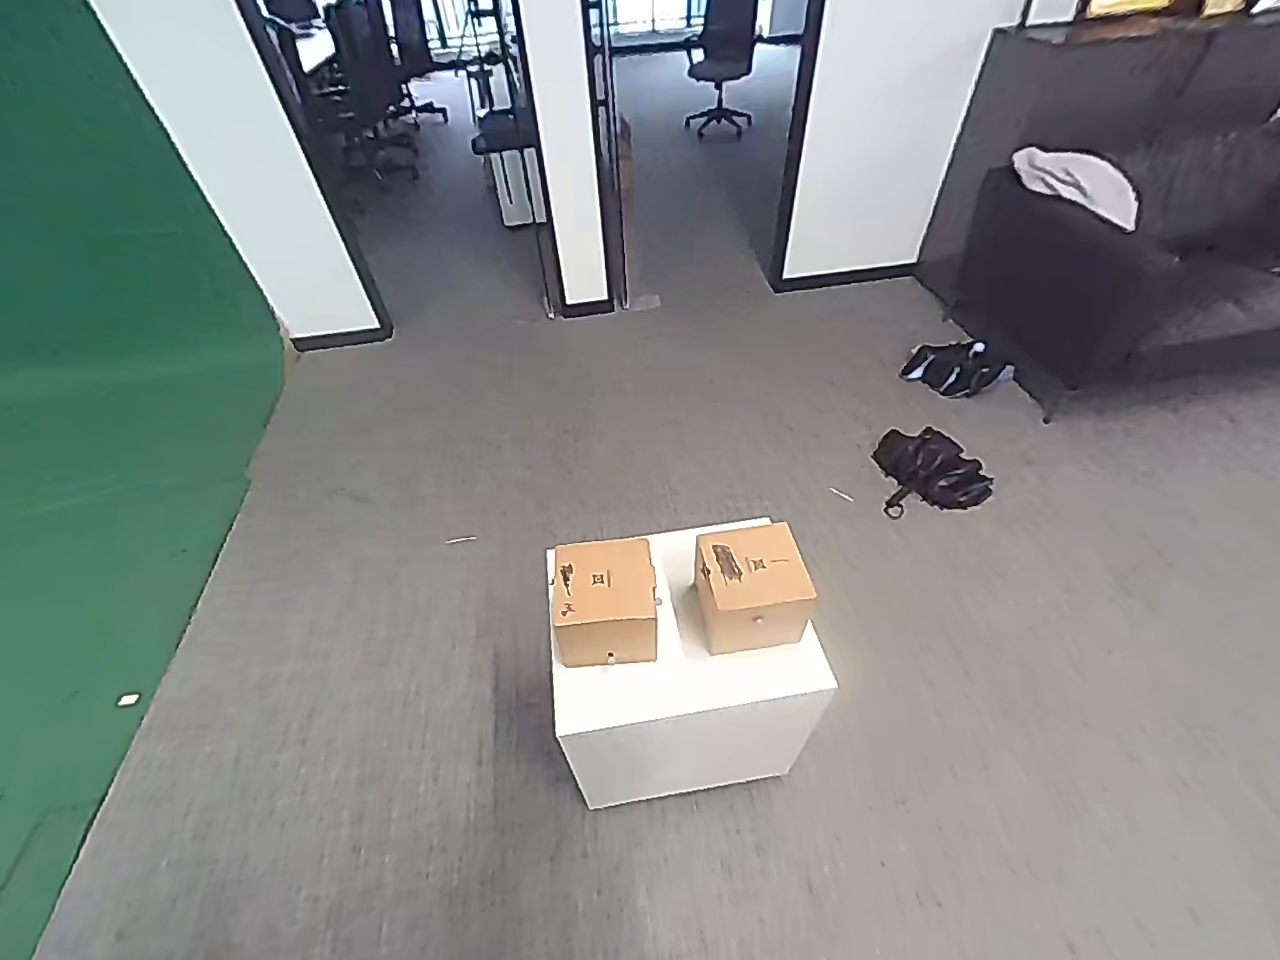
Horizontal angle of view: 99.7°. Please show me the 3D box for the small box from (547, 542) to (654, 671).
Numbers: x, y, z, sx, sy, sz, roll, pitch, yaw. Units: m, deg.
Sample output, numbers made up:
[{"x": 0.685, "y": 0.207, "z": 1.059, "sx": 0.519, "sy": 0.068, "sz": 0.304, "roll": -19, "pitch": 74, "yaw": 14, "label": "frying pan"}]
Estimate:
[{"x": -0.073, "y": 0.231, "z": 0.982, "sx": 0.179, "sy": 0.176, "sz": 0.168, "roll": -3, "pitch": 46, "yaw": -5, "label": "small box"}]

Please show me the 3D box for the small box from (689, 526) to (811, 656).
[{"x": 0.191, "y": 0.210, "z": 1.005, "sx": 0.179, "sy": 0.176, "sz": 0.168, "roll": -6, "pitch": 47, "yaw": -7, "label": "small box"}]
